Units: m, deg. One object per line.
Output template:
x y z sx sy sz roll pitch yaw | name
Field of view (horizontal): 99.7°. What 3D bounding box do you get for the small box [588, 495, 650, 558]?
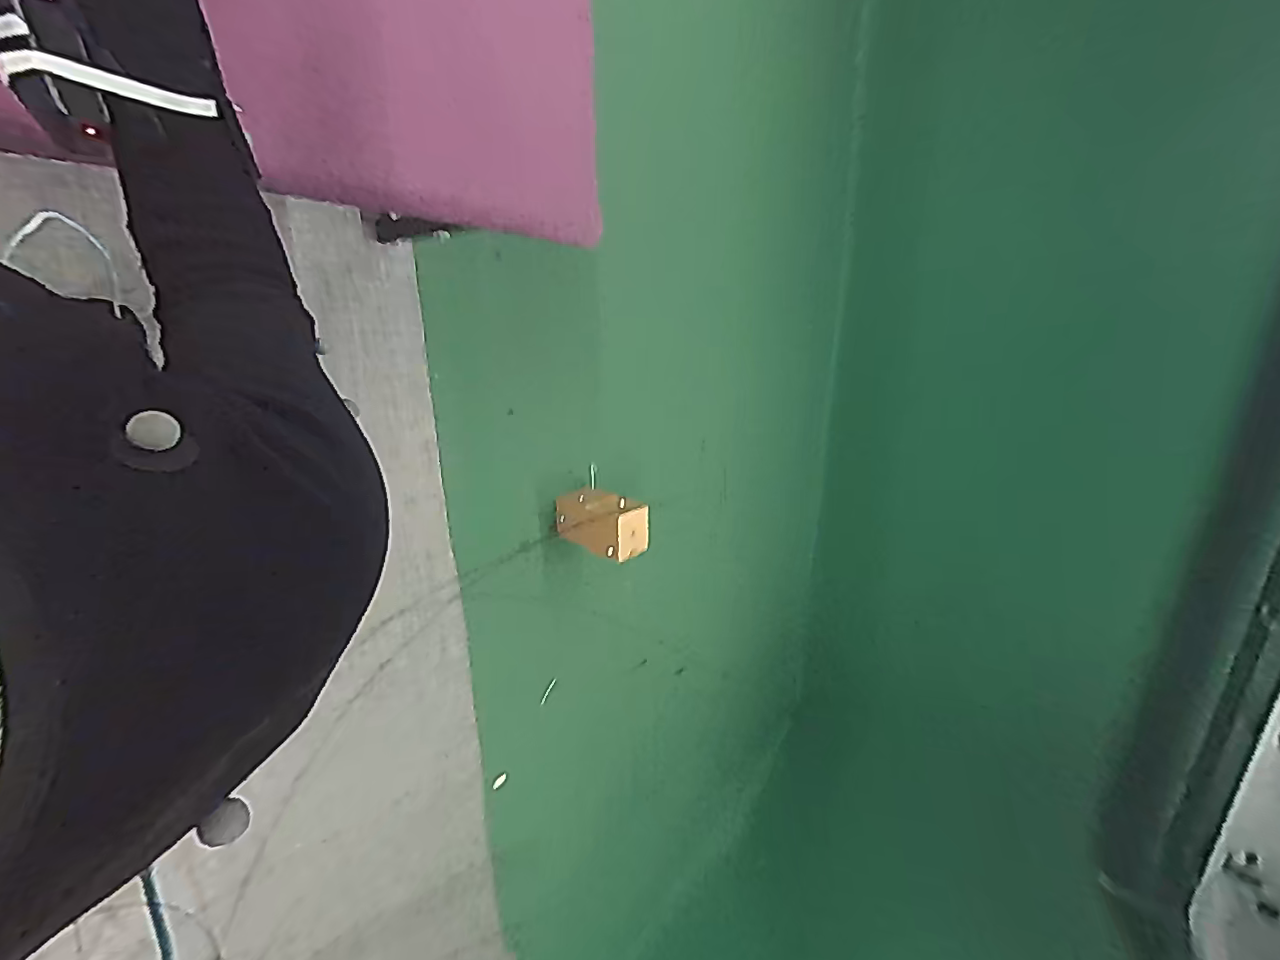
-0.081 0.164 2.003 0.168 0.176 0.179 -20 117 -46 | small box
